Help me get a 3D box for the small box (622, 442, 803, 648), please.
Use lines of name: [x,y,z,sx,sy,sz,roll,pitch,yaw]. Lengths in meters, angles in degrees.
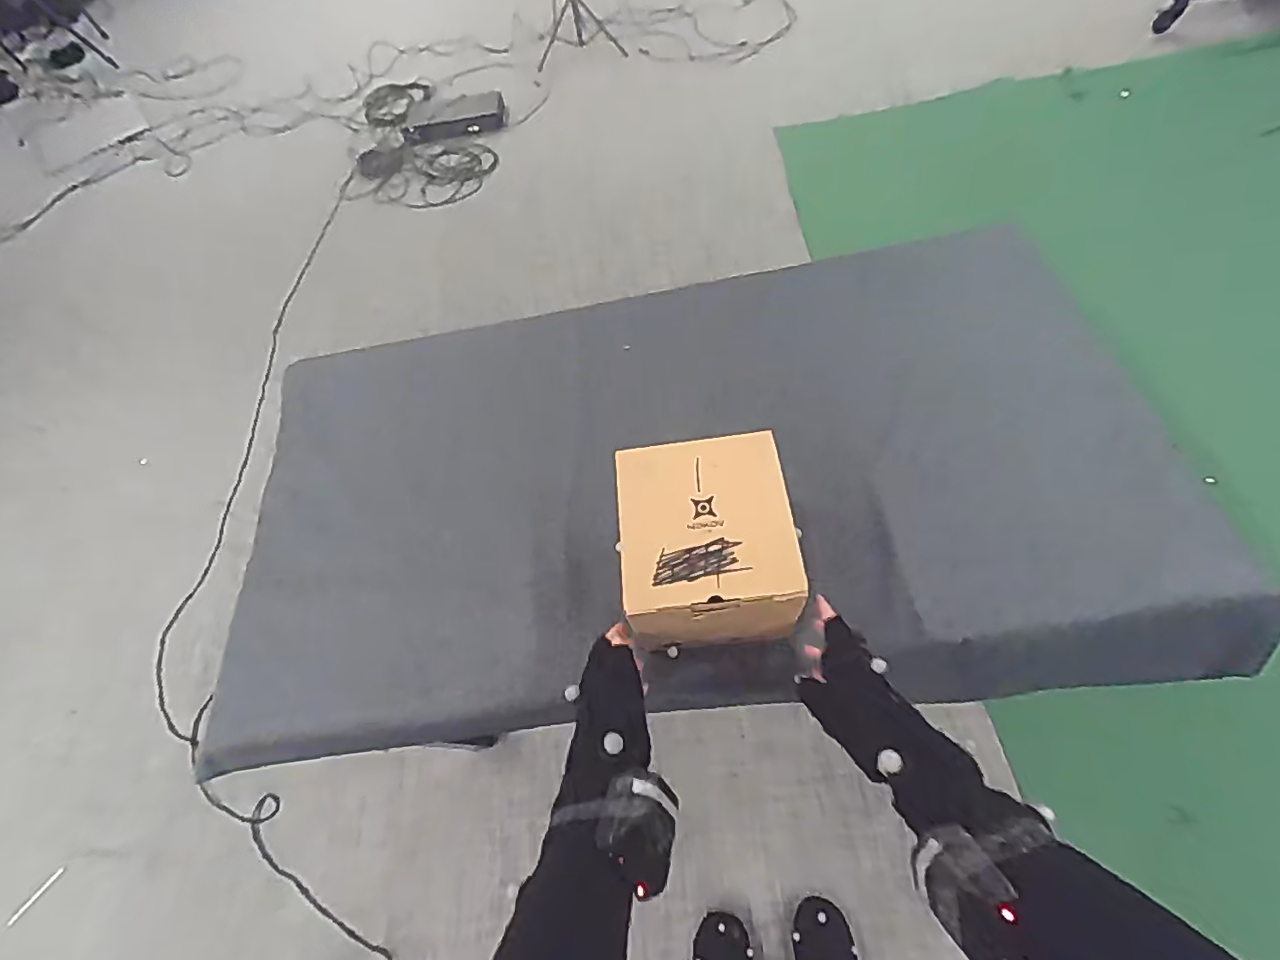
small box: [0.074,0.082,0.598,0.168,0.176,0.179,-6,59,5]
